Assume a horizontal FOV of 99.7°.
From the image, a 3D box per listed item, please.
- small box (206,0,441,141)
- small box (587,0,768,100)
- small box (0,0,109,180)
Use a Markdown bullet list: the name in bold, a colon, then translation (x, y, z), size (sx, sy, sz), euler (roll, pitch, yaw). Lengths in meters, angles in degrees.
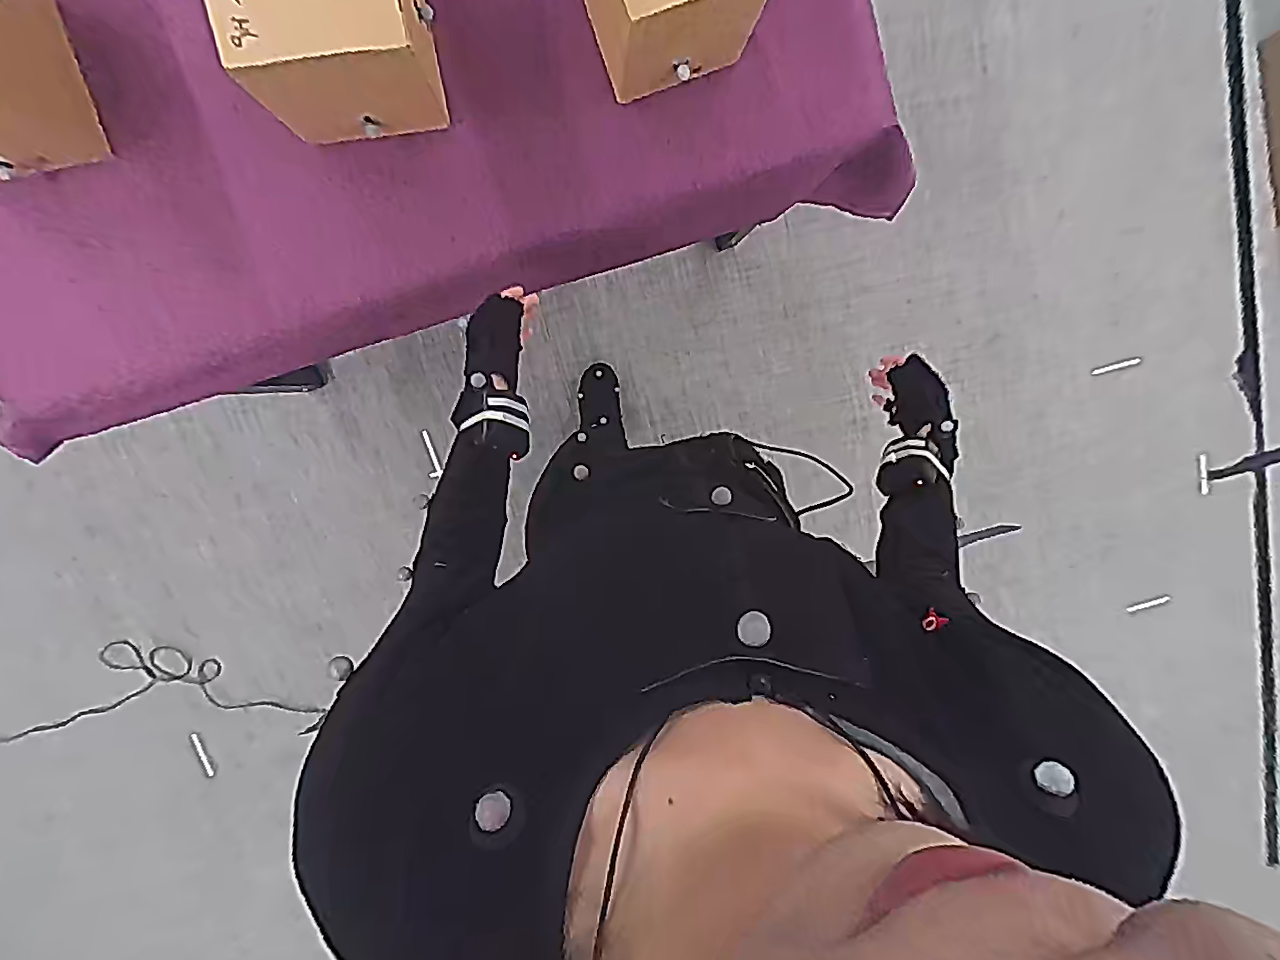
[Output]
- **small box**: translation (-0.323, -0.489, 0.572), size (0.179, 0.176, 0.168), euler (-10, 100, -5)
- **small box**: translation (0.030, -0.572, 0.595), size (0.168, 0.176, 0.179), euler (-21, 102, -2)
- **small box**: translation (-0.710, -0.431, 0.539), size (0.168, 0.176, 0.179), euler (-14, 102, -3)
